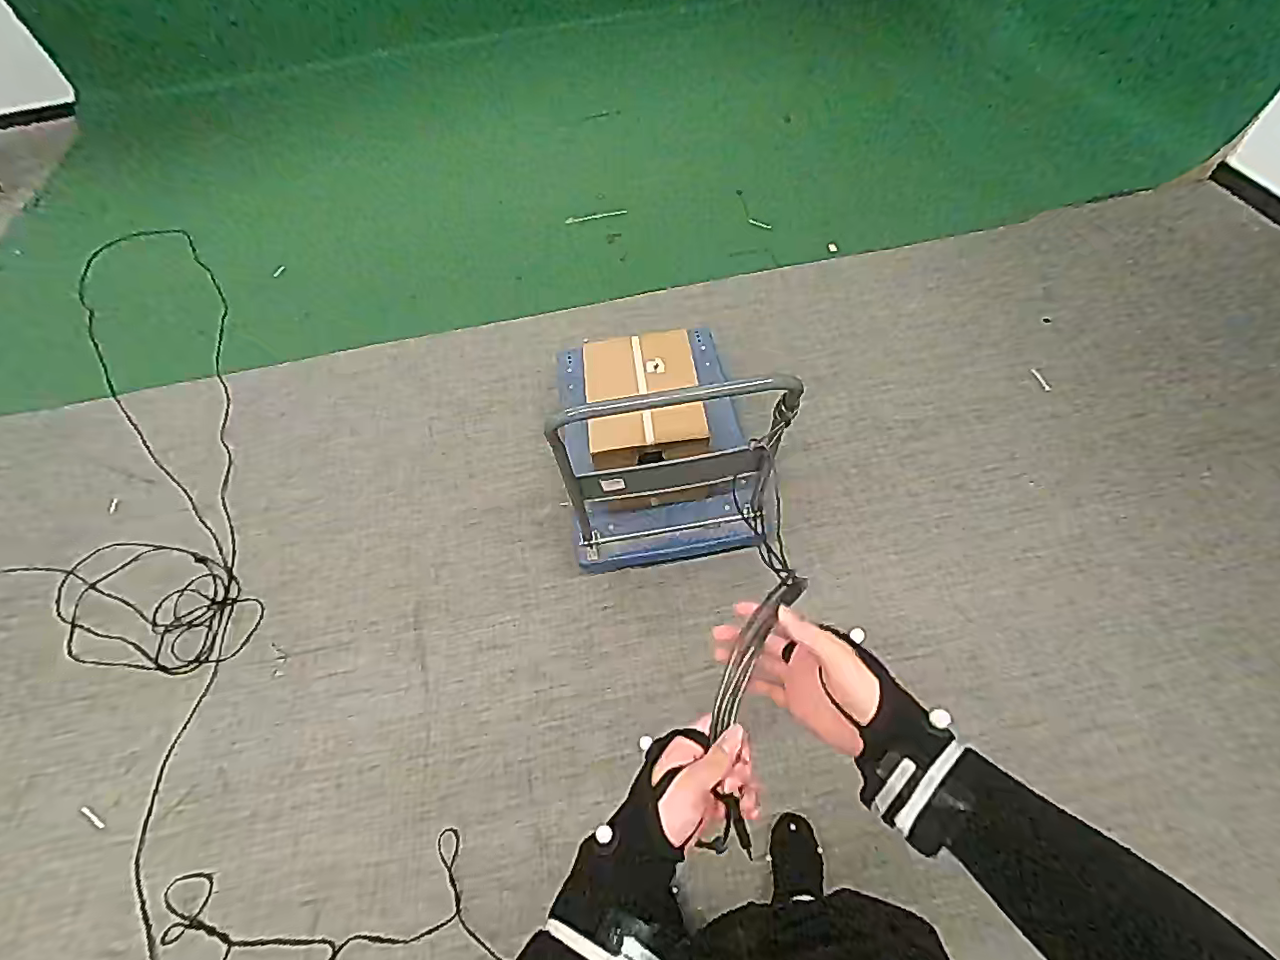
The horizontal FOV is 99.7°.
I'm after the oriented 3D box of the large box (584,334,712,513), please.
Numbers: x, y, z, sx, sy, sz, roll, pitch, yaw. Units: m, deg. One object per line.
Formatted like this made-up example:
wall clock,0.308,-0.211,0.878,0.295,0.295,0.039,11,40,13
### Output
large box,0.021,-0.163,1.597,0.320,0.320,0.408,-7,57,0
